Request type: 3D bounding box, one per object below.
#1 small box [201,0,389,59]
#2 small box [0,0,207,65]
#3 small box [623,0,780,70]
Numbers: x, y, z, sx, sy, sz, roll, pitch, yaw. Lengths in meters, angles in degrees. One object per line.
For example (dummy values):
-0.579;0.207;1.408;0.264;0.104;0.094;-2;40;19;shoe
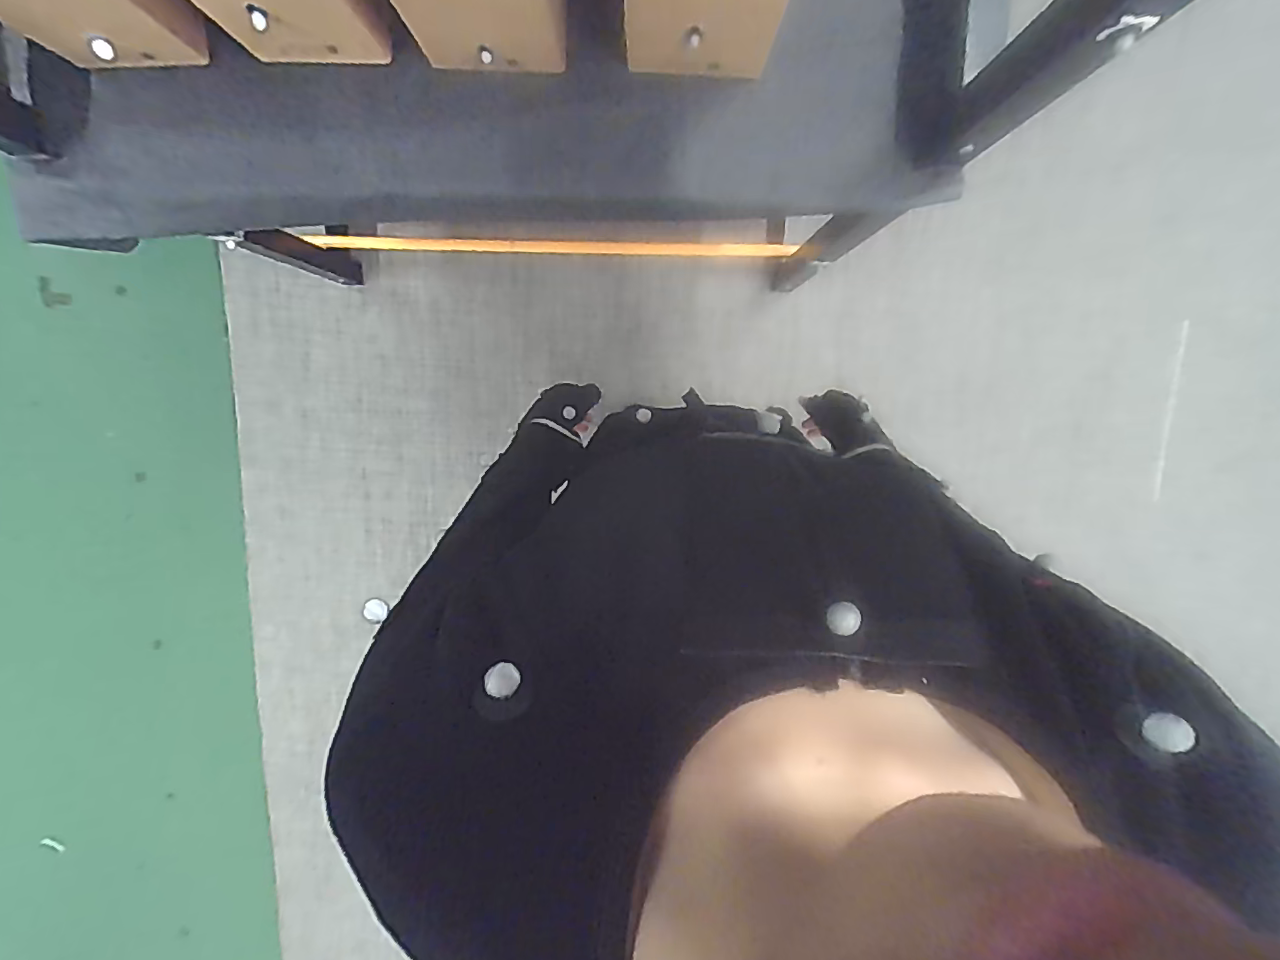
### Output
-0.385;-0.589;0.574;0.168;0.176;0.179;1;98;0;small box
-0.612;-0.588;0.575;0.168;0.176;0.179;-1;99;1;small box
0.070;-0.573;0.567;0.168;0.176;0.179;4;98;0;small box
